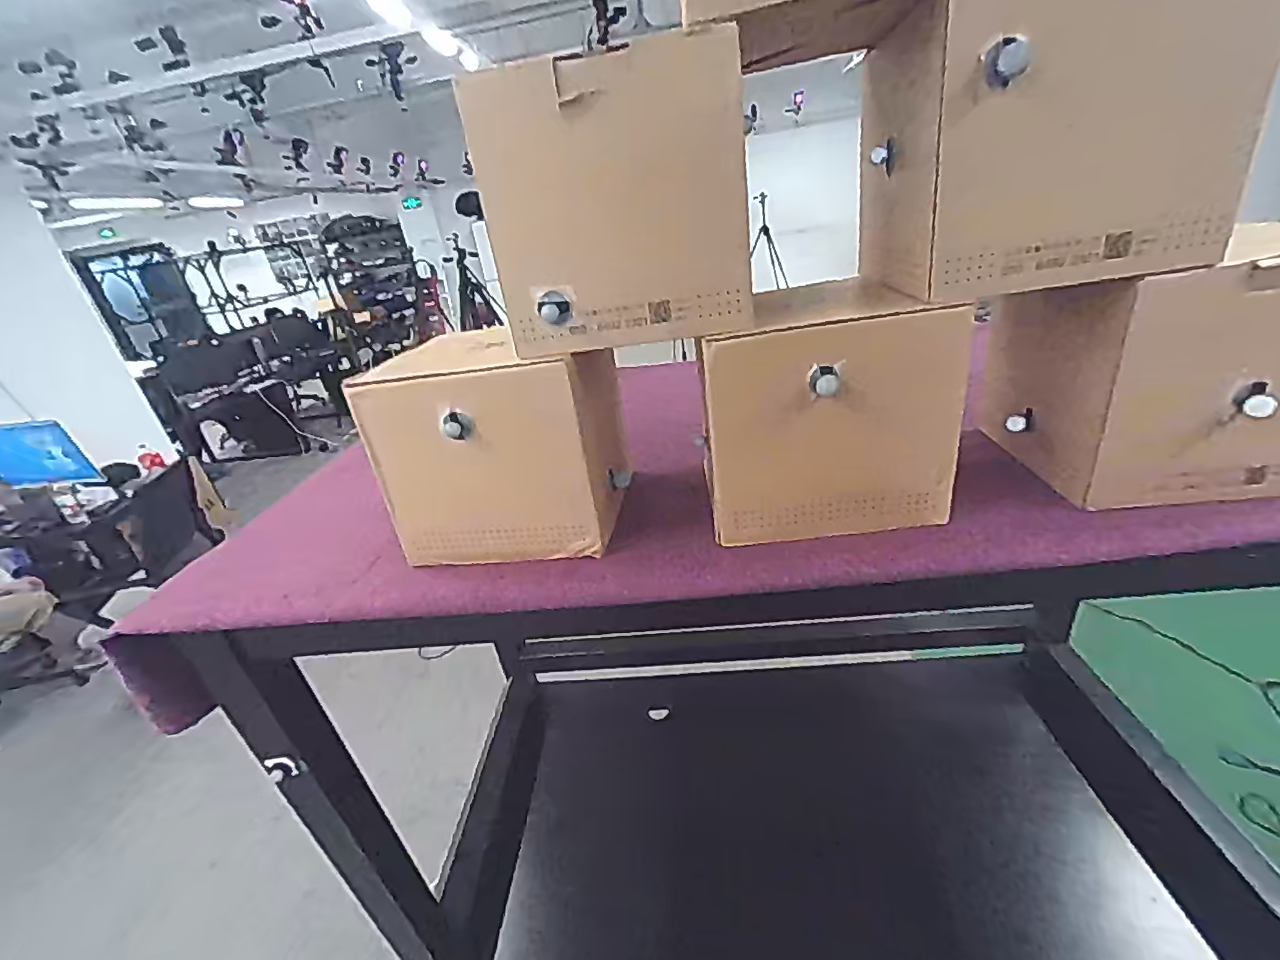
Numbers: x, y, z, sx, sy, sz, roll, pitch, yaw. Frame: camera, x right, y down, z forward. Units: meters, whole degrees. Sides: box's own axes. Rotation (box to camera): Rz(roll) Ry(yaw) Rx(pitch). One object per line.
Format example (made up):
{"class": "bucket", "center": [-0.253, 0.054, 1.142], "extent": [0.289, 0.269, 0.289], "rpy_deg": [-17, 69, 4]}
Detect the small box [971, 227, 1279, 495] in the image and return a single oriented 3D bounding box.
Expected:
{"class": "small box", "center": [0.397, -0.096, 0.437], "extent": [0.168, 0.176, 0.179], "rpy_deg": [-5, 26, 9]}

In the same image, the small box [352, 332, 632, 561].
{"class": "small box", "center": [-0.114, -0.037, 0.499], "extent": [0.179, 0.176, 0.168], "rpy_deg": [-4, 26, 10]}

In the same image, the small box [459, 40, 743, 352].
{"class": "small box", "center": [-0.013, -0.202, 0.426], "extent": [0.168, 0.176, 0.179], "rpy_deg": [-6, 24, 7]}
